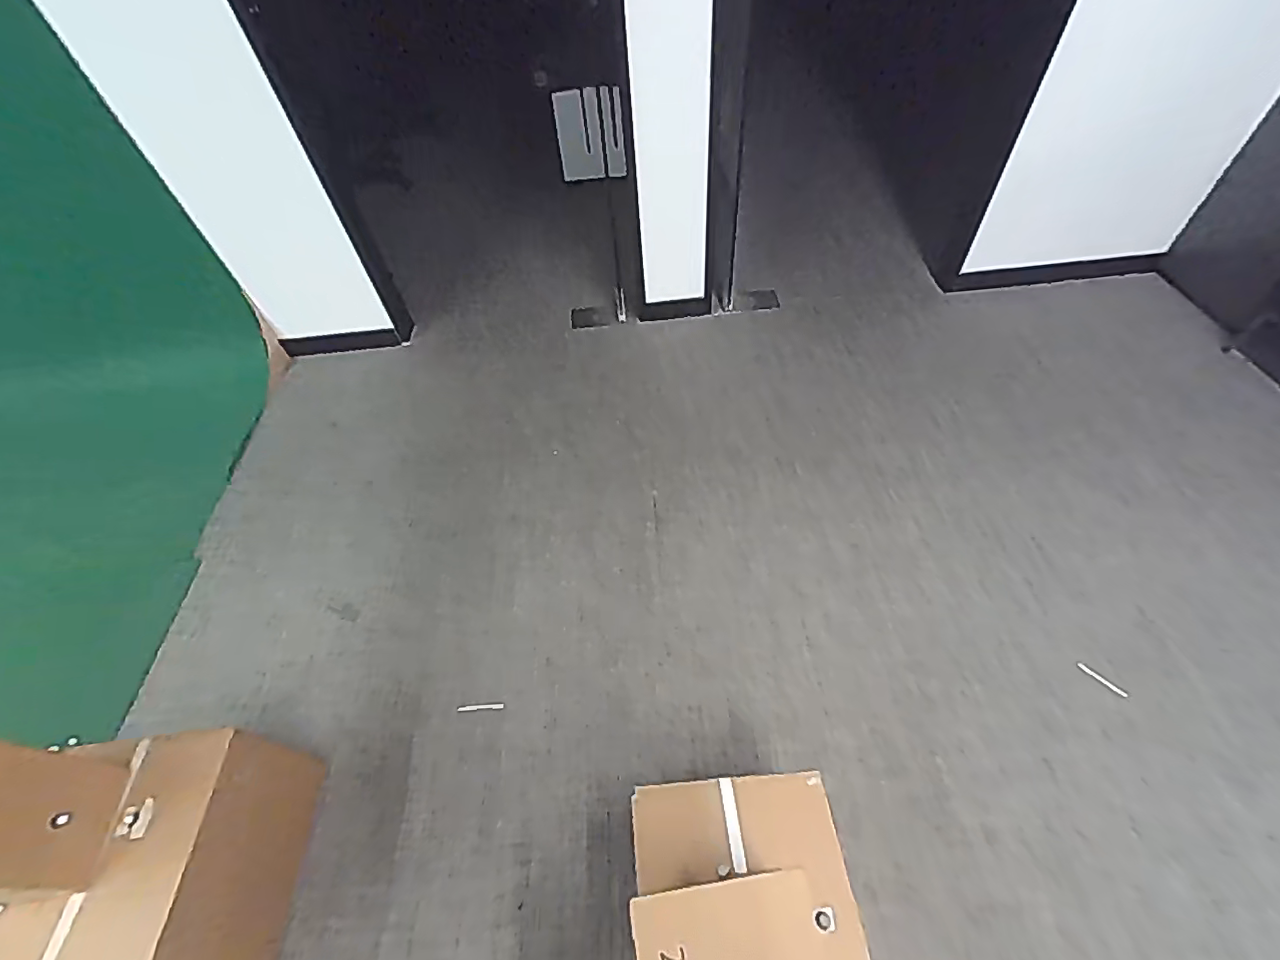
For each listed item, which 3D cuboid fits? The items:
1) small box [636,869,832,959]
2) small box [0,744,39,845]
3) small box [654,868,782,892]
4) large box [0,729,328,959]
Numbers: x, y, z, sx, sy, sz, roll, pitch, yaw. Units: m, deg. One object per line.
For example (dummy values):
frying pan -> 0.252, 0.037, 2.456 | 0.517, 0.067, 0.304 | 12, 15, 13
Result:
small box -> 0.099, 0.506, 0.546 | 0.179, 0.176, 0.168 | -11, 51, 0
small box -> -0.971, 0.441, 0.705 | 0.168, 0.176, 0.179 | -9, 53, 3
small box -> 0.117, 0.605, 0.678 | 0.168, 0.176, 0.179 | -10, 53, 0
large box -> -0.846, 0.725, 0.988 | 0.320, 0.320, 0.408 | -7, 51, 1
